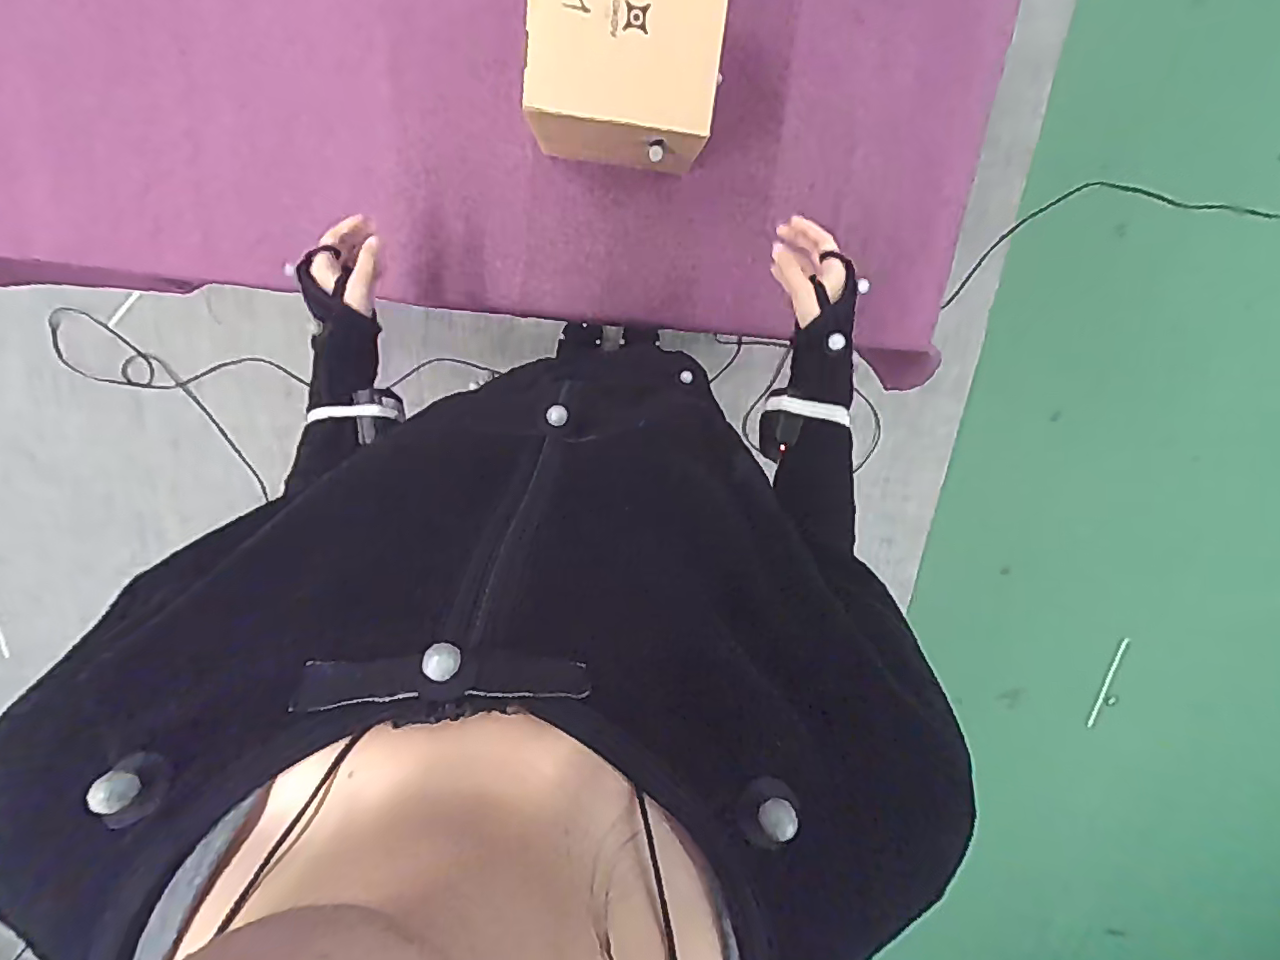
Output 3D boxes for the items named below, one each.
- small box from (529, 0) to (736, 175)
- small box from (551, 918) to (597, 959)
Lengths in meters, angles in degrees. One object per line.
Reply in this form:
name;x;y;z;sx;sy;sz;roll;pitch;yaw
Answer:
small box;-0.010;-0.427;0.551;0.179;0.176;0.168;6;107;-5
small box;-0.255;1.824;2.062;0.168;0.176;0.179;5;107;-5
